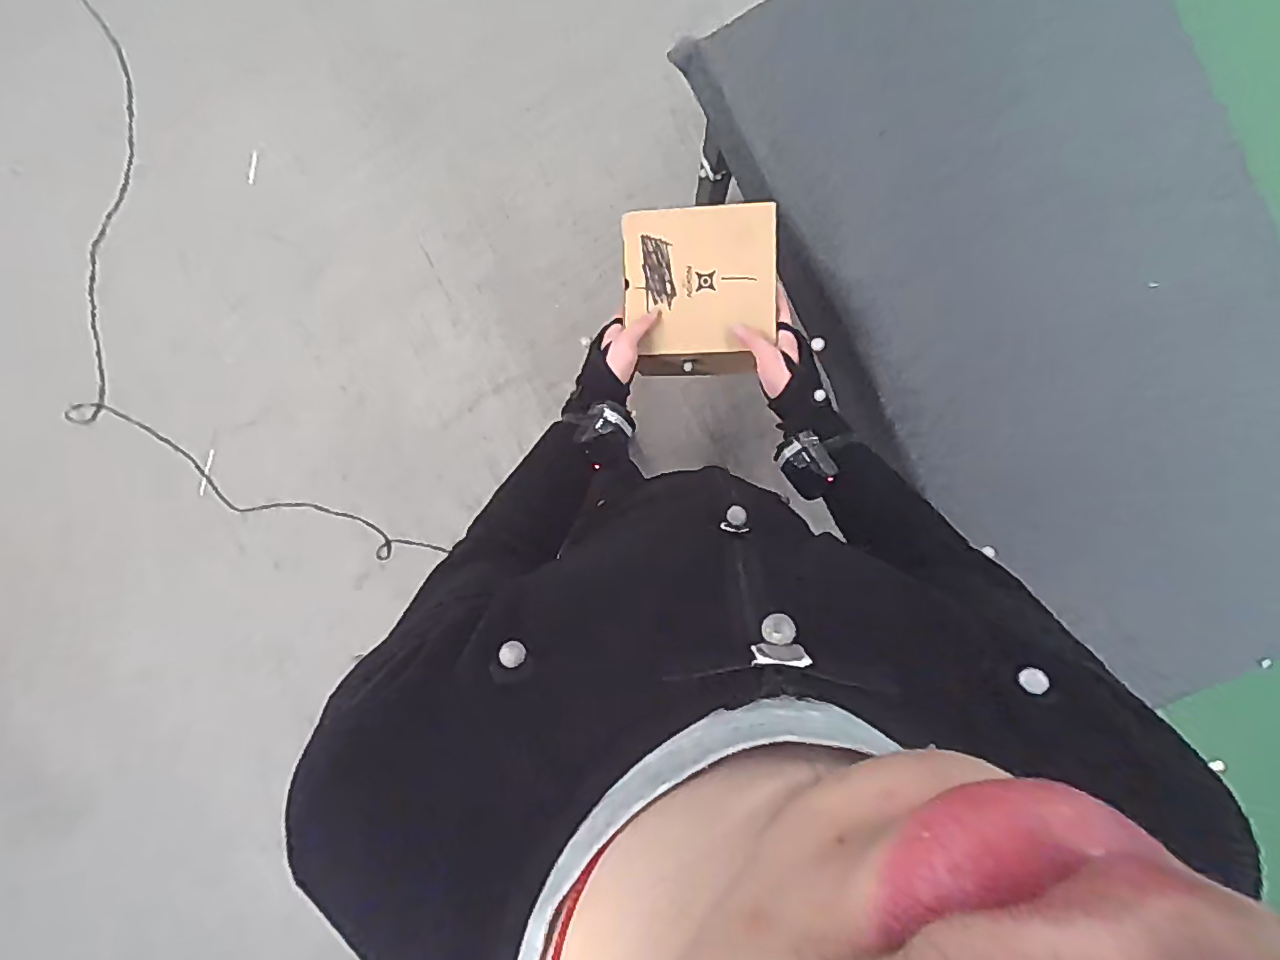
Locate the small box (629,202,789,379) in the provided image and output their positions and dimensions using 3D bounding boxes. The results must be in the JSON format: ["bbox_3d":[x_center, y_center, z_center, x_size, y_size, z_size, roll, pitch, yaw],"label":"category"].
[{"bbox_3d":[0.082,-0.220,0.672,0.179,0.176,0.168,-1,92,4],"label":"small box"}]
